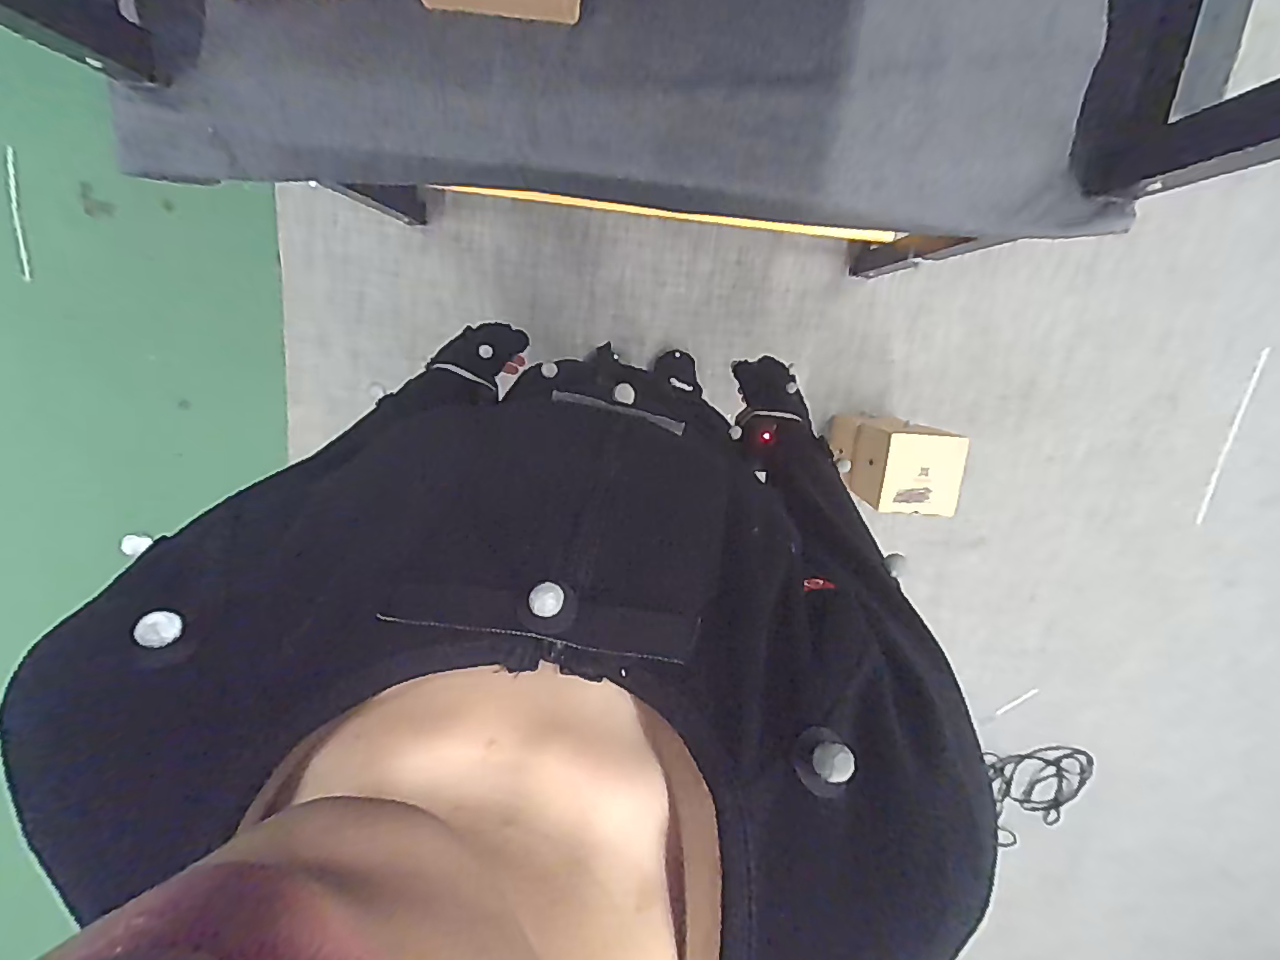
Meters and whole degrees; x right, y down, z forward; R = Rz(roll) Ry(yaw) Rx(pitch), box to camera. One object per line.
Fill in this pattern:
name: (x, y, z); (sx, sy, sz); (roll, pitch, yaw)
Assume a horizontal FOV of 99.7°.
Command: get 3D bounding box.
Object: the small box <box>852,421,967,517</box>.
small box: (0.595, -0.029, 1.219); (0.168, 0.176, 0.179); (4, 104, 0)
